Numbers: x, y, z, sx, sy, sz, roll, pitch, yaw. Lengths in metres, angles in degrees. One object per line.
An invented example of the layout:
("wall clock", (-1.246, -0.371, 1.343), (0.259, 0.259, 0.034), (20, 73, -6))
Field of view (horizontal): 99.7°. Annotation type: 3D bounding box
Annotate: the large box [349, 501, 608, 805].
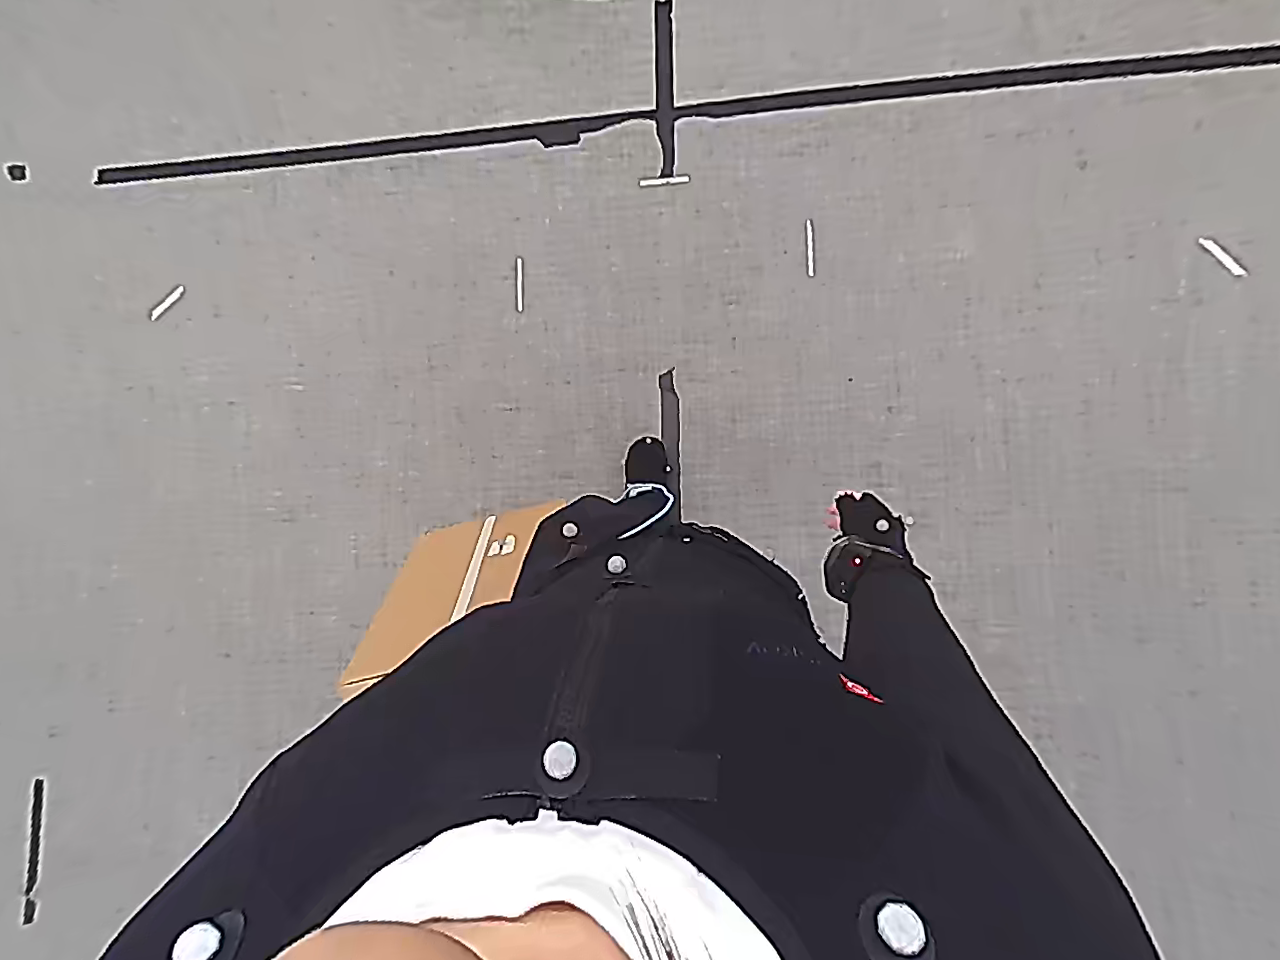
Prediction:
("large box", (-0.250, 0.294, 1.003), (0.320, 0.408, 0.320), (-13, 115, 3))
